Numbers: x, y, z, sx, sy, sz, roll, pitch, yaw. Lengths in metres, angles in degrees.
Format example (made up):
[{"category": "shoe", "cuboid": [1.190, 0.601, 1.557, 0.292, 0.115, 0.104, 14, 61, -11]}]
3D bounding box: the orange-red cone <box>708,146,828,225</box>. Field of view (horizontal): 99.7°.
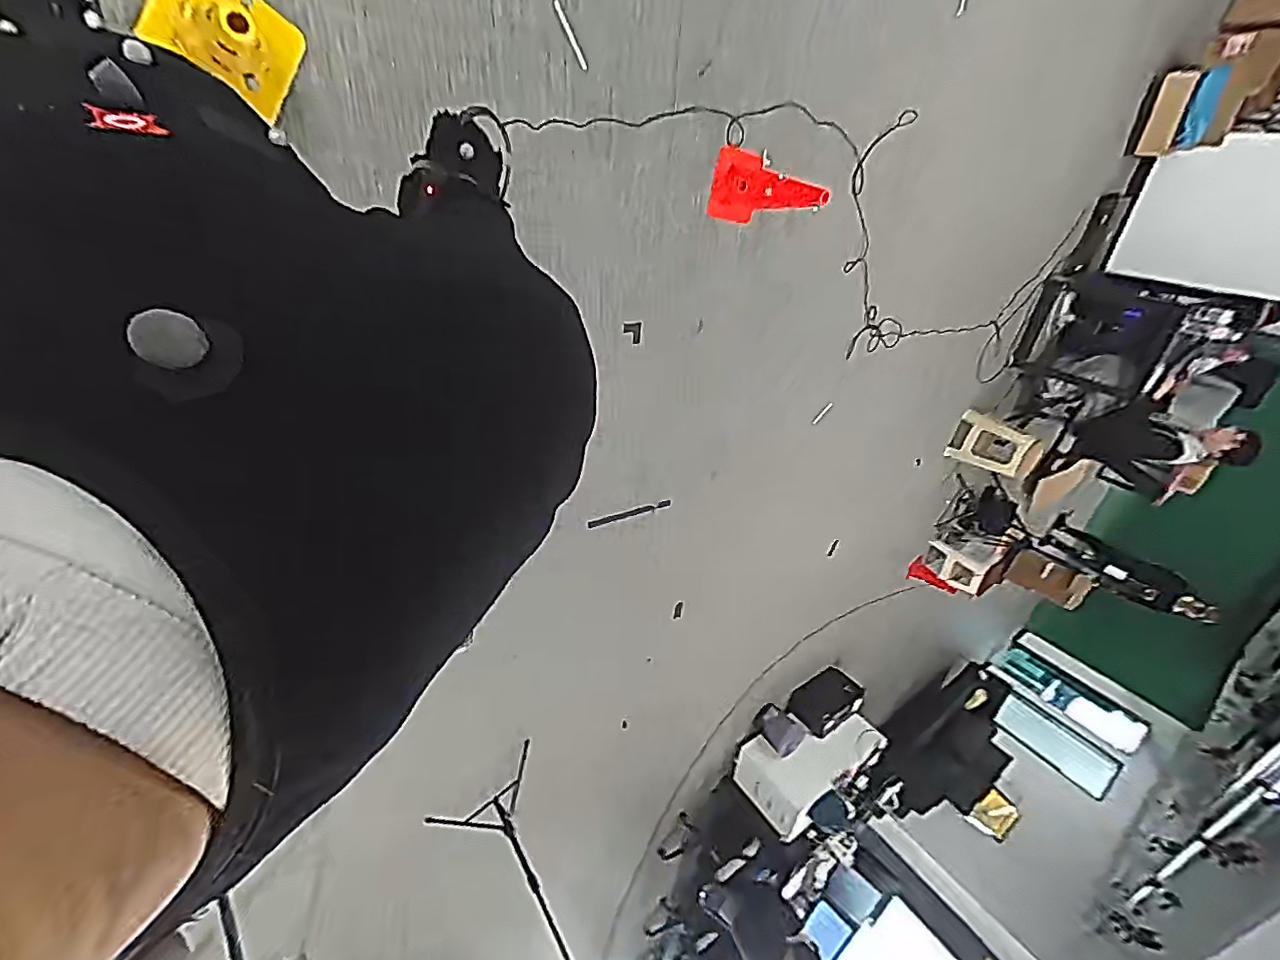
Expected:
[{"category": "orange-red cone", "cuboid": [0.399, -0.852, 1.595, 0.199, 0.360, 0.198, -8, 121, -36]}]
